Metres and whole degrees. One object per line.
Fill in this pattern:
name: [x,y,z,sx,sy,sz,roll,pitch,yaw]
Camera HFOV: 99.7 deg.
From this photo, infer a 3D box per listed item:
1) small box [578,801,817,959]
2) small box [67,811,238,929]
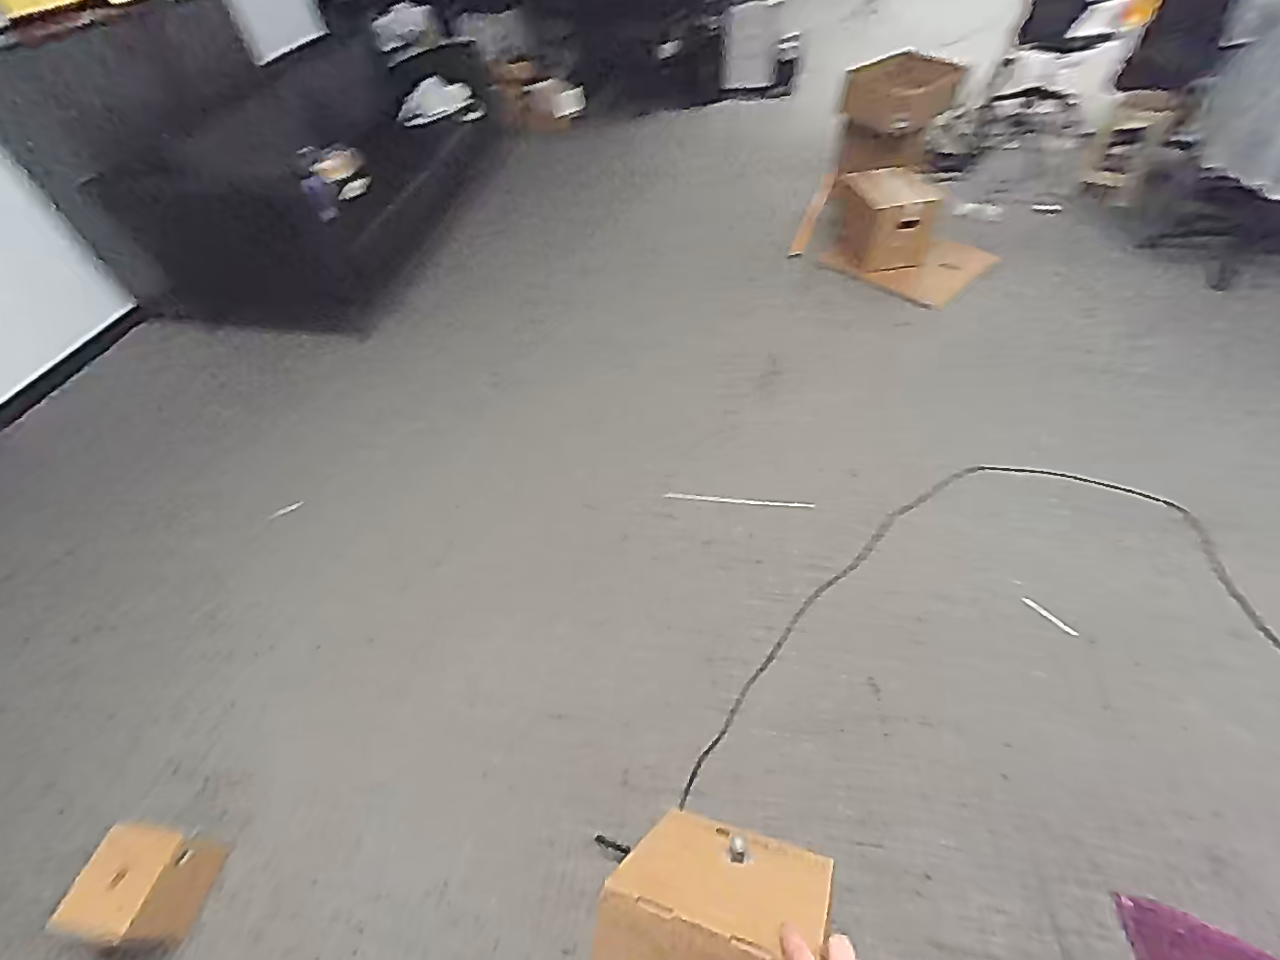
small box: [0.055,0.414,0.459,0.168,0.176,0.179,4,82,23]
small box: [-1.019,0.834,1.154,0.168,0.176,0.179,4,49,8]
